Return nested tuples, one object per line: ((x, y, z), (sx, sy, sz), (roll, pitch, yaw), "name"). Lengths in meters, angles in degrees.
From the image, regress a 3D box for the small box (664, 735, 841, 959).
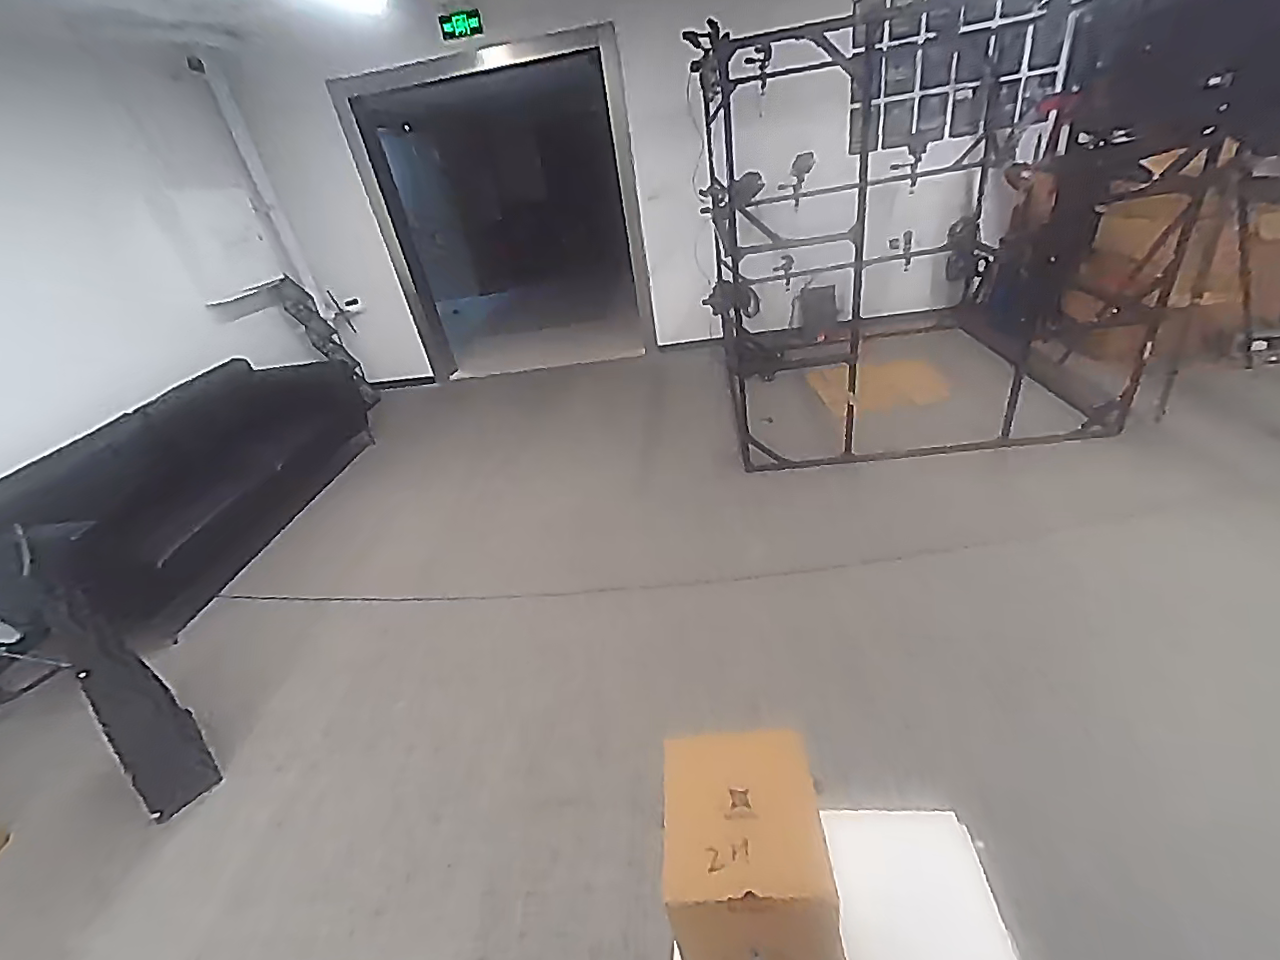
((0.122, 0.423, 0.615), (0.168, 0.176, 0.179), (-8, 29, 8), "small box")
